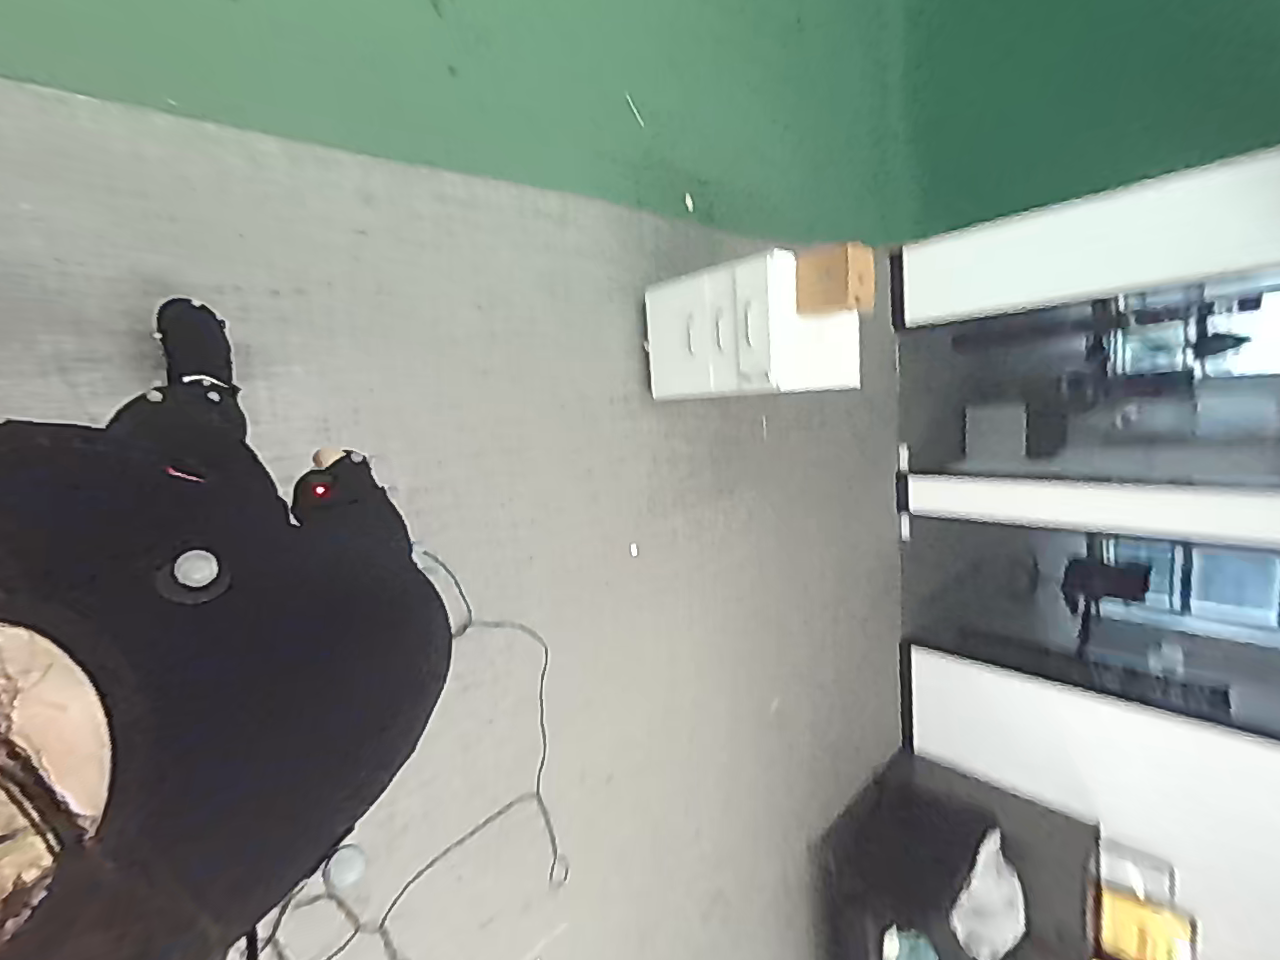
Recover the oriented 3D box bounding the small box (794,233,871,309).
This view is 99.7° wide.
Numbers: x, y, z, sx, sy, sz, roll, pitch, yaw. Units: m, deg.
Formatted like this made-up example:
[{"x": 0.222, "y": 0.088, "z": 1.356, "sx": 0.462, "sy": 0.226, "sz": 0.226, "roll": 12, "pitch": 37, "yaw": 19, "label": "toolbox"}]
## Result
[{"x": 0.576, "y": -0.620, "z": 1.623, "sx": 0.168, "sy": 0.176, "sz": 0.179, "roll": -13, "pitch": 103, "yaw": -41, "label": "small box"}]
